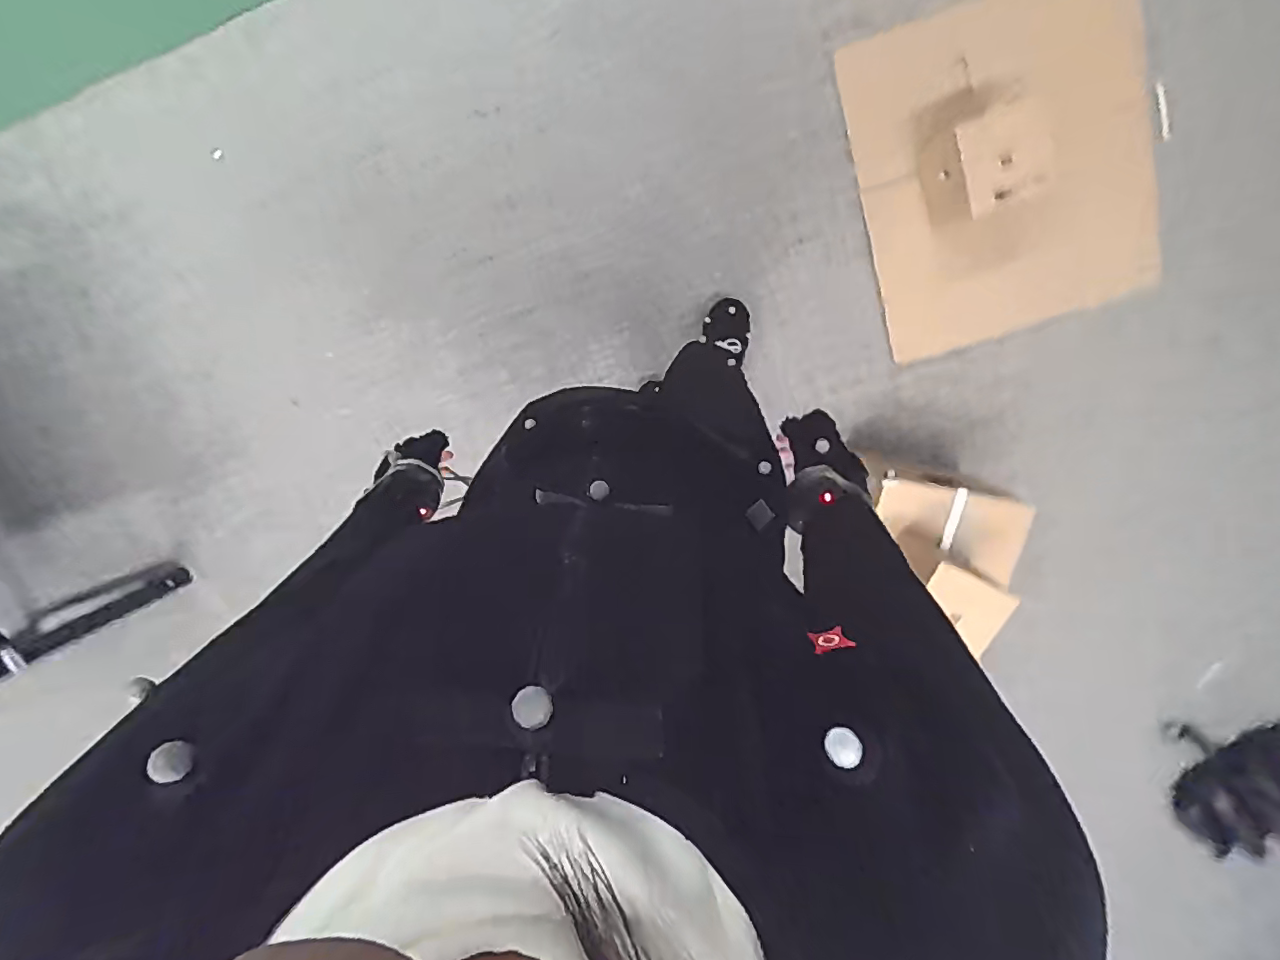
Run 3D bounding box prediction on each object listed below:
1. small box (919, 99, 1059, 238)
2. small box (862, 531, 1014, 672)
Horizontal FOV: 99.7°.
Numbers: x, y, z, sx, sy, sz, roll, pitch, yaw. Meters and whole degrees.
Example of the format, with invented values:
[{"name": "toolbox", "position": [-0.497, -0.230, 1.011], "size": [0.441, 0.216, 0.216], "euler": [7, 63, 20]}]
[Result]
[{"name": "small box", "position": [0.716, -0.635, 1.128], "size": [0.168, 0.176, 0.179], "euler": [-21, 101, 7]}, {"name": "small box", "position": [0.560, 0.228, 1.051], "size": [0.168, 0.176, 0.179], "euler": [26, 103, -3]}]
